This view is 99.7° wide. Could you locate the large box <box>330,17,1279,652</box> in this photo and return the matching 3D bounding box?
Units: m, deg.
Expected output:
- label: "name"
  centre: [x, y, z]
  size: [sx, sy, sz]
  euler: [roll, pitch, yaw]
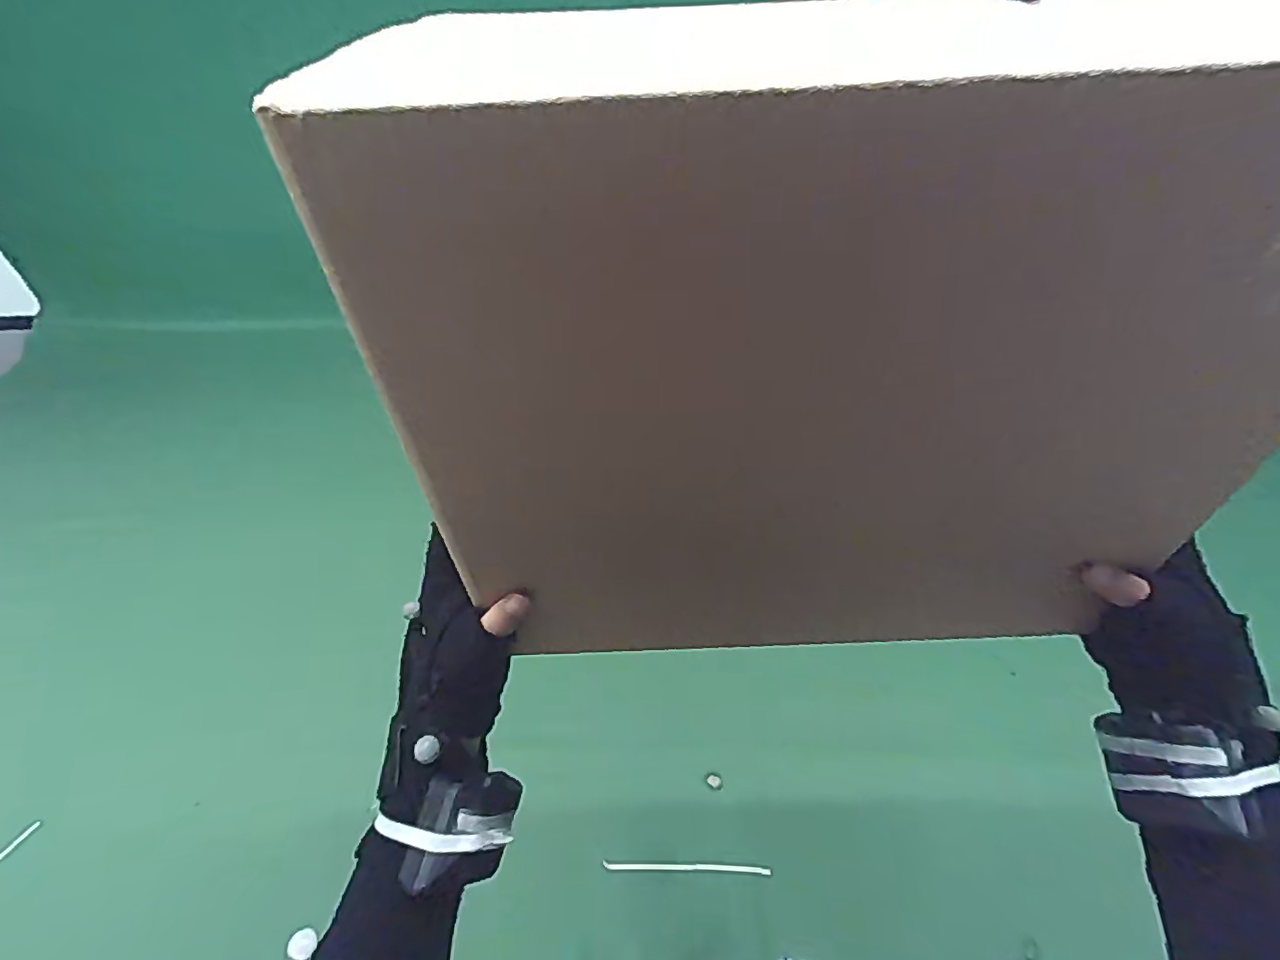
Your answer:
- label: "large box"
  centre: [0.099, -0.104, 0.371]
  size: [0.408, 0.320, 0.320]
  euler: [-2, 44, -1]
